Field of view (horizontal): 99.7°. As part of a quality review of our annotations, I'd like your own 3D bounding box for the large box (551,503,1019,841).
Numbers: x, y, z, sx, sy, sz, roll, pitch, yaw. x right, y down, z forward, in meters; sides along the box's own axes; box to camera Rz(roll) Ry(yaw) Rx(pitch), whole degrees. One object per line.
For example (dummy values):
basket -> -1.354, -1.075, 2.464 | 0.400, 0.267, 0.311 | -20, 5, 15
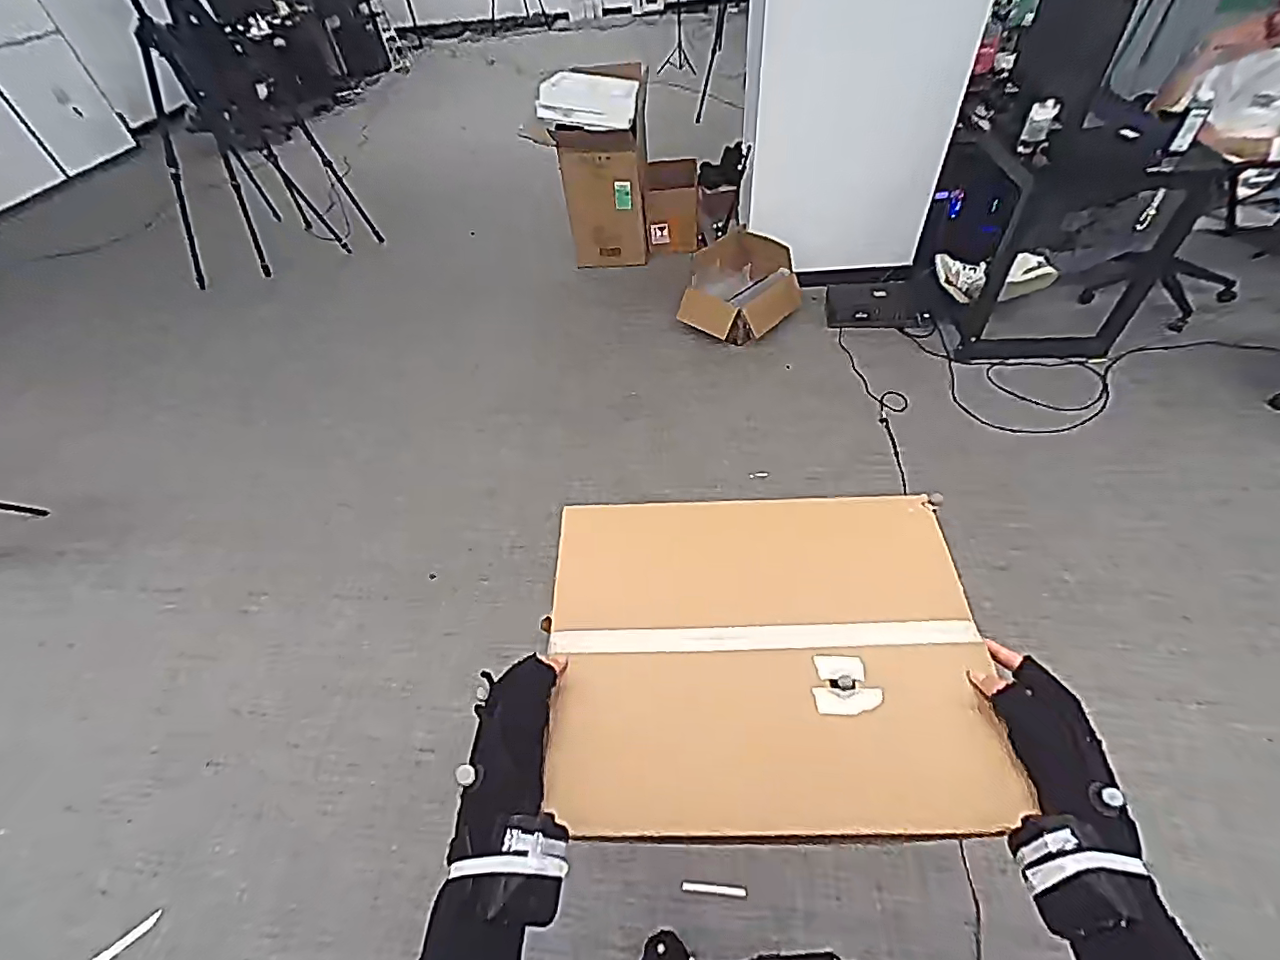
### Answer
large box -> 0.122, 0.245, 0.659 | 0.408, 0.320, 0.320 | -2, 56, 2
